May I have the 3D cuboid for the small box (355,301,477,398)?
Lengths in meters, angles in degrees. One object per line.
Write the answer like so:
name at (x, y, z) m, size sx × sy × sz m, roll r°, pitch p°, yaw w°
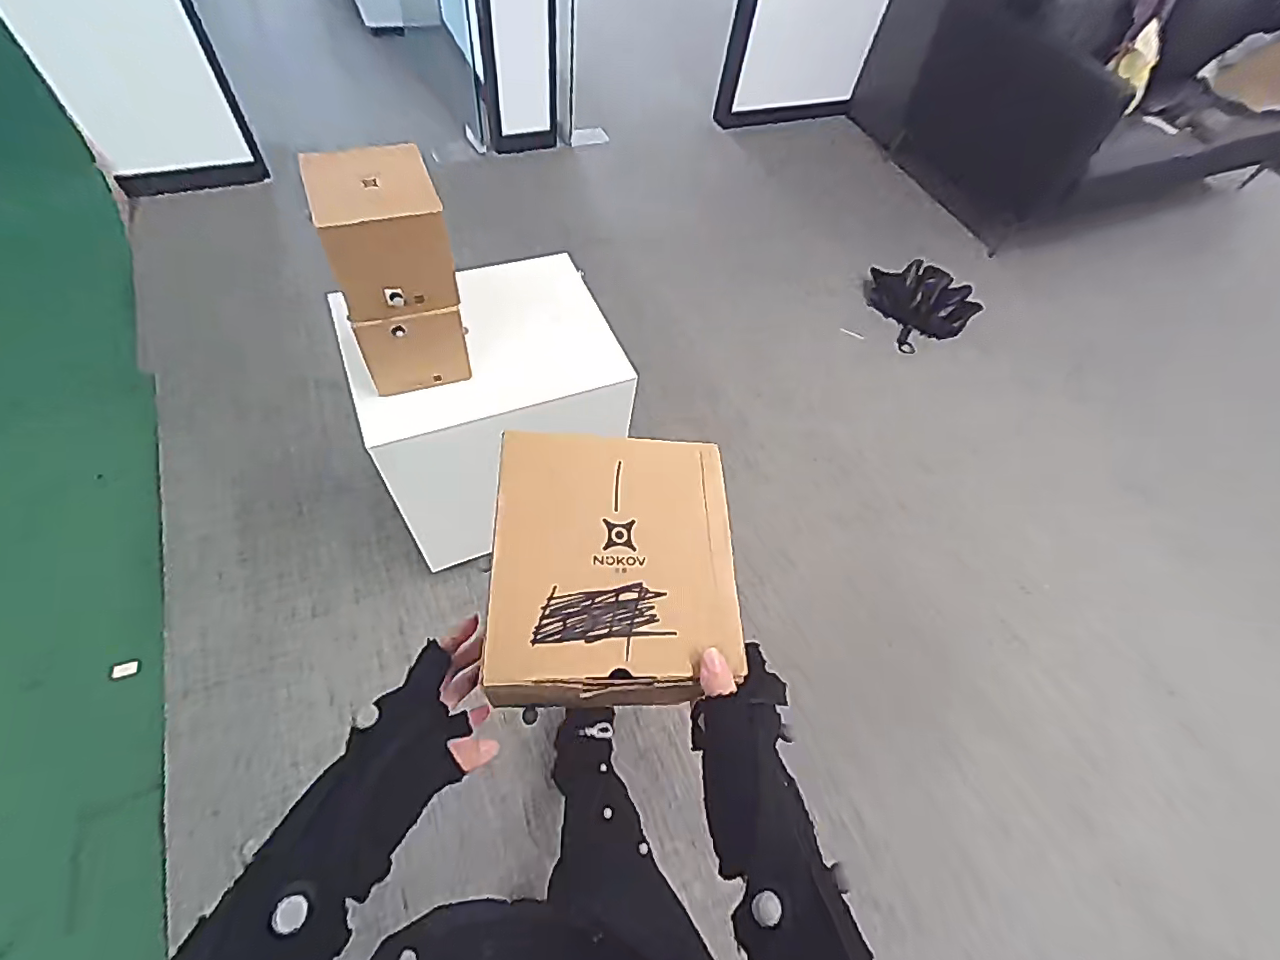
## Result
small box at (-0.403, -0.276, 0.973) m, size 0.168 × 0.176 × 0.179 m, roll -16°, pitch 61°, yaw -17°

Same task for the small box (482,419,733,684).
small box at (-0.033, 0.072, 0.453) m, size 0.168 × 0.176 × 0.179 m, roll 3°, pitch 62°, yaw -11°

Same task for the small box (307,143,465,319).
small box at (-0.380, -0.378, 0.827) m, size 0.168 × 0.176 × 0.179 m, roll -18°, pitch 64°, yaw -18°
